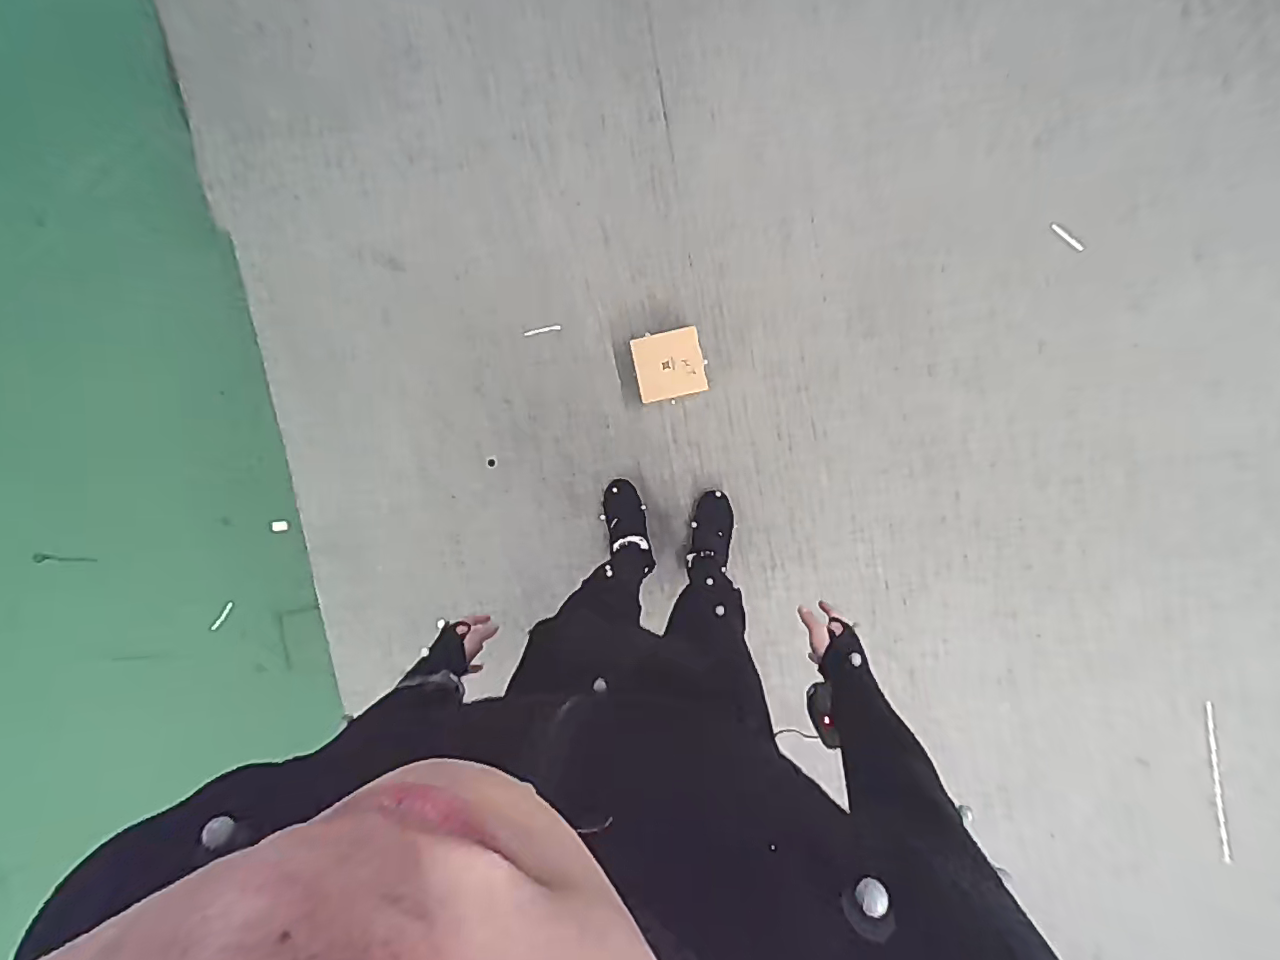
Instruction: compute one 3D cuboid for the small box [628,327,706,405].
[{"bbox_3d":[0.077,-0.297,1.446,0.179,0.176,0.168,-11,95,6],"label":"small box"}]
